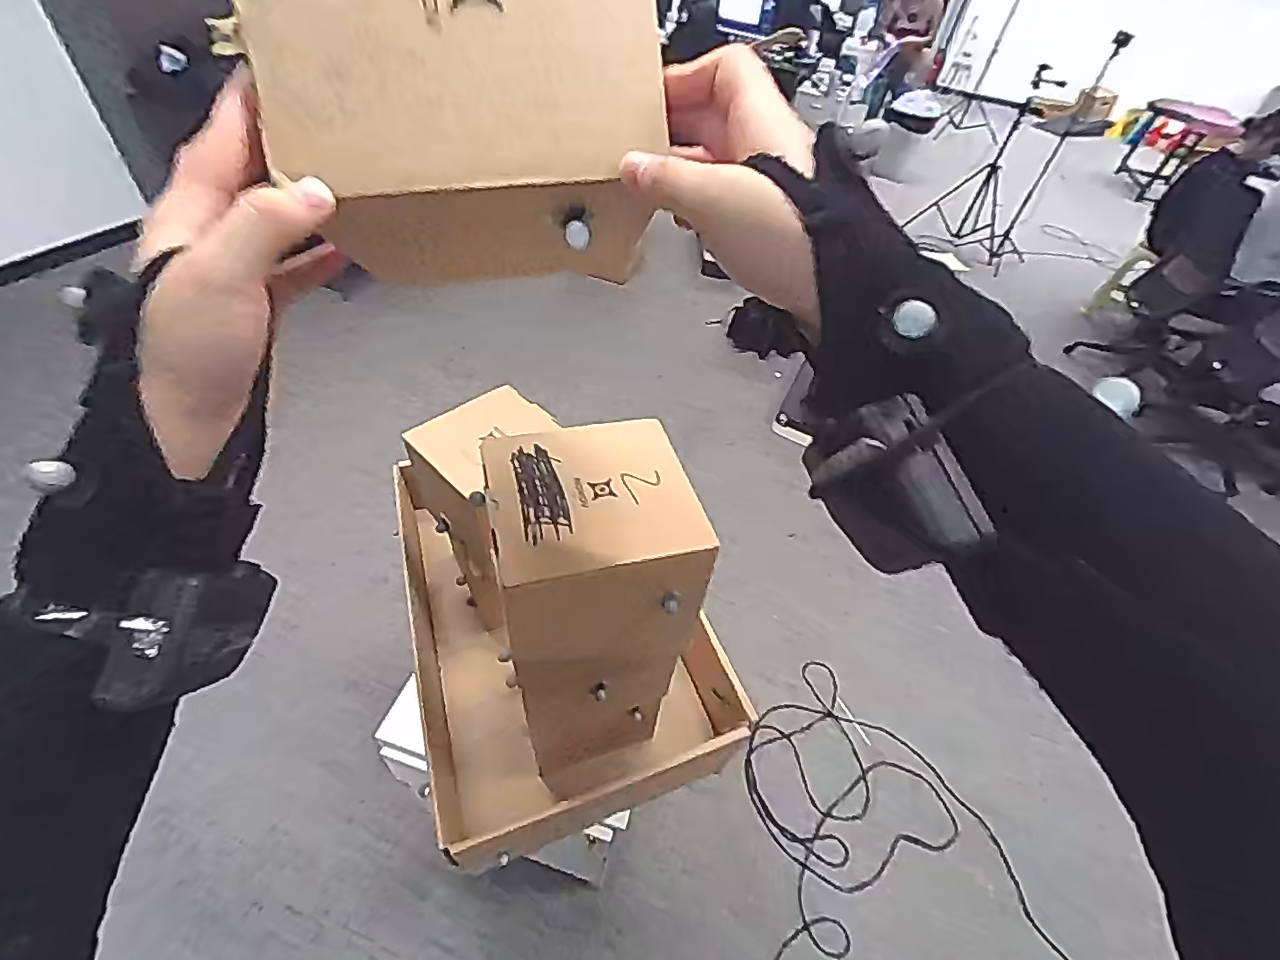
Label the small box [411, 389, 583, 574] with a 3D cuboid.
[{"bbox_3d":[-0.203,0.001,0.801,0.168,0.176,0.179,37,54,26],"label":"small box"}]

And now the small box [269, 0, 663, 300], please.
[{"bbox_3d":[-0.094,-0.220,0.338,0.179,0.168,0.176,-8,6,-7],"label":"small box"}]

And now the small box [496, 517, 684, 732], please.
[{"bbox_3d":[-0.067,0.173,0.654,0.179,0.176,0.168,-12,47,-17],"label":"small box"}]
